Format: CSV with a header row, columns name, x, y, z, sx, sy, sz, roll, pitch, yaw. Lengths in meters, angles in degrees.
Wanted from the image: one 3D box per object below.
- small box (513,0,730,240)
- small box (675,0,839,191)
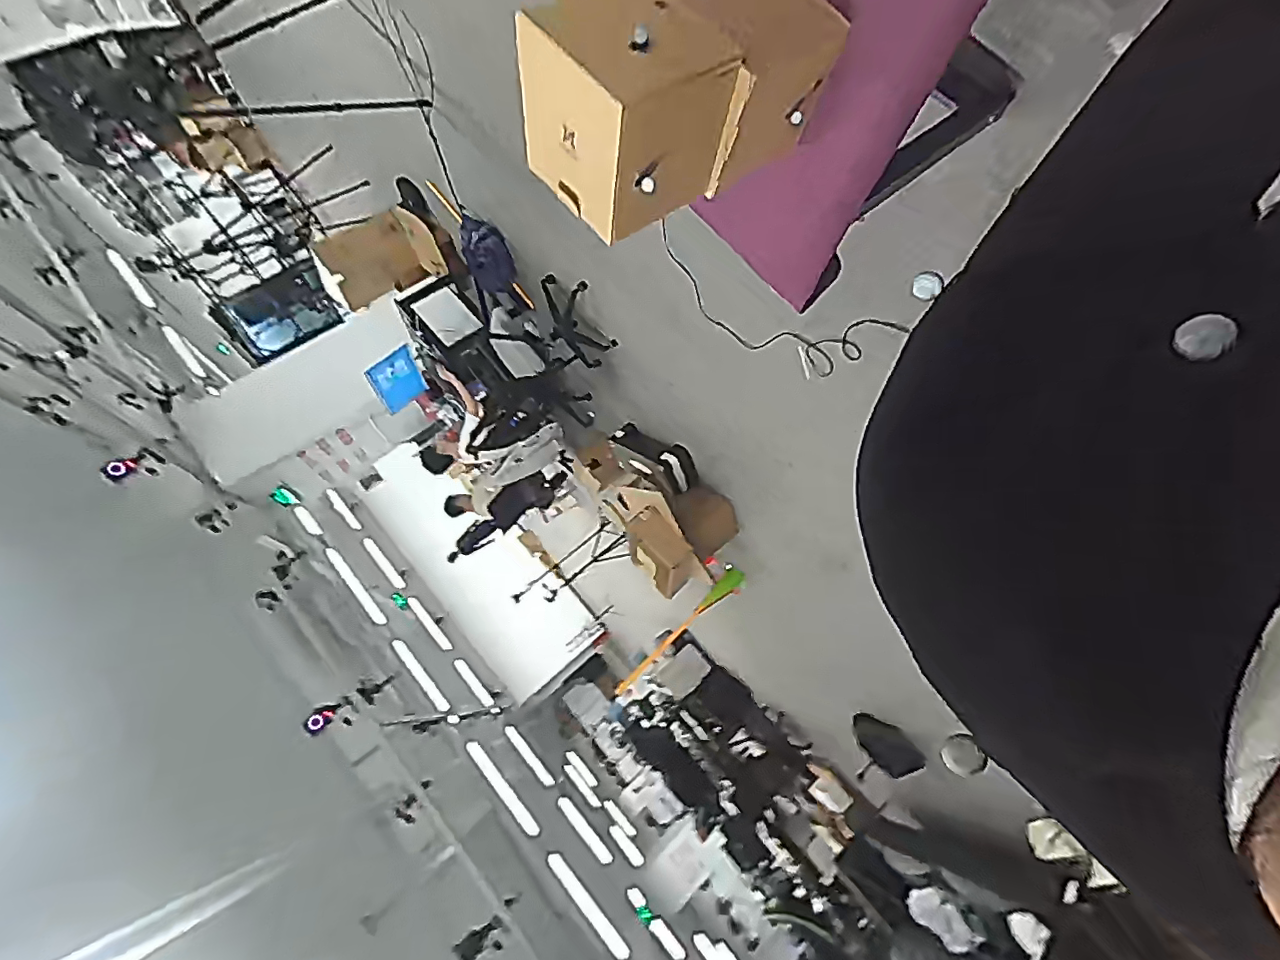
name,x,y,z,sx,sy,sz,roll,pitch,yaw
small box,-0.022,-0.427,0.620,0.168,0.176,0.179,47,161,11
small box,0.104,-0.514,0.676,0.179,0.176,0.168,48,161,7
